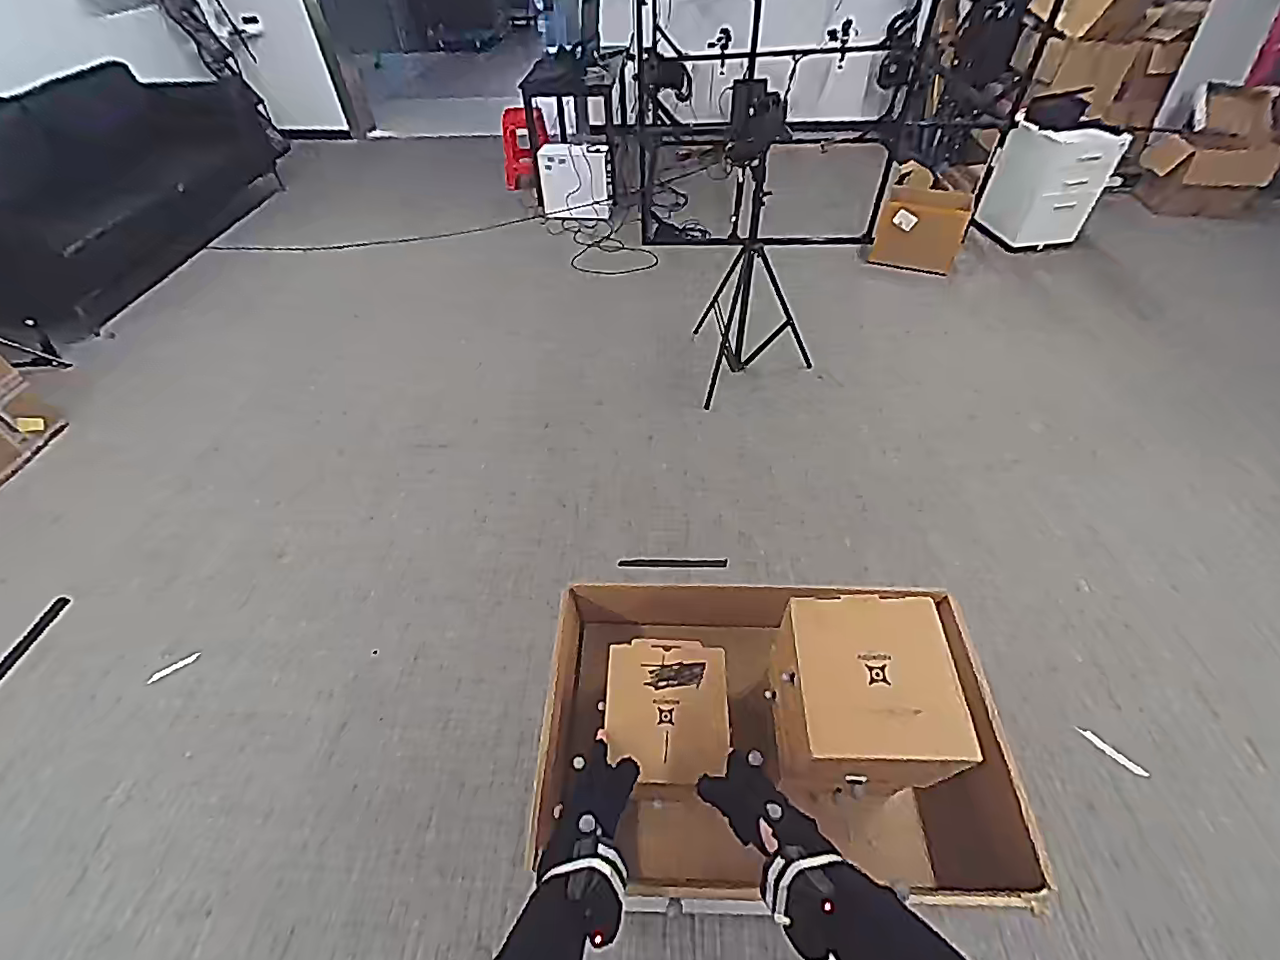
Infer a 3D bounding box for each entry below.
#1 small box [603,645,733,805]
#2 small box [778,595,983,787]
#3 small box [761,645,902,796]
[{"bbox_3d":[0.038,0.356,0.782,0.168,0.176,0.179,1,53,2],"label":"small box"},{"bbox_3d":[0.265,0.254,0.648,0.168,0.176,0.179,-3,53,6],"label":"small box"},{"bbox_3d":[0.279,0.349,0.781,0.179,0.176,0.168,-1,52,4],"label":"small box"}]
